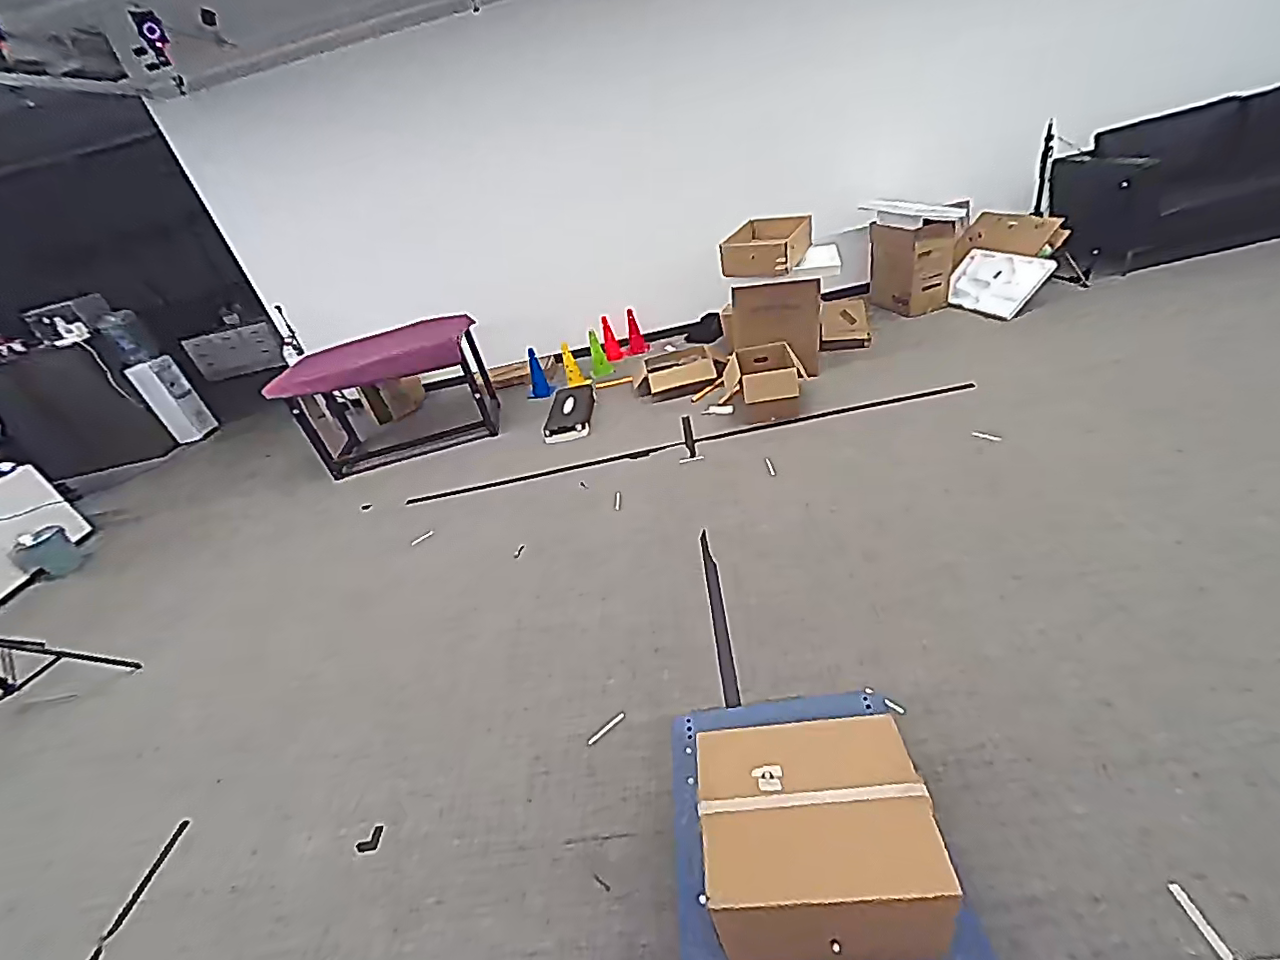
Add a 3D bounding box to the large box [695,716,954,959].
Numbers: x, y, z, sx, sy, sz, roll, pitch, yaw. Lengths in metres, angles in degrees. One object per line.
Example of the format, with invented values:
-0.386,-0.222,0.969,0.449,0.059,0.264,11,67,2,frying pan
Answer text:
0.344,0.723,1.081,0.408,0.320,0.320,-11,31,9,large box
